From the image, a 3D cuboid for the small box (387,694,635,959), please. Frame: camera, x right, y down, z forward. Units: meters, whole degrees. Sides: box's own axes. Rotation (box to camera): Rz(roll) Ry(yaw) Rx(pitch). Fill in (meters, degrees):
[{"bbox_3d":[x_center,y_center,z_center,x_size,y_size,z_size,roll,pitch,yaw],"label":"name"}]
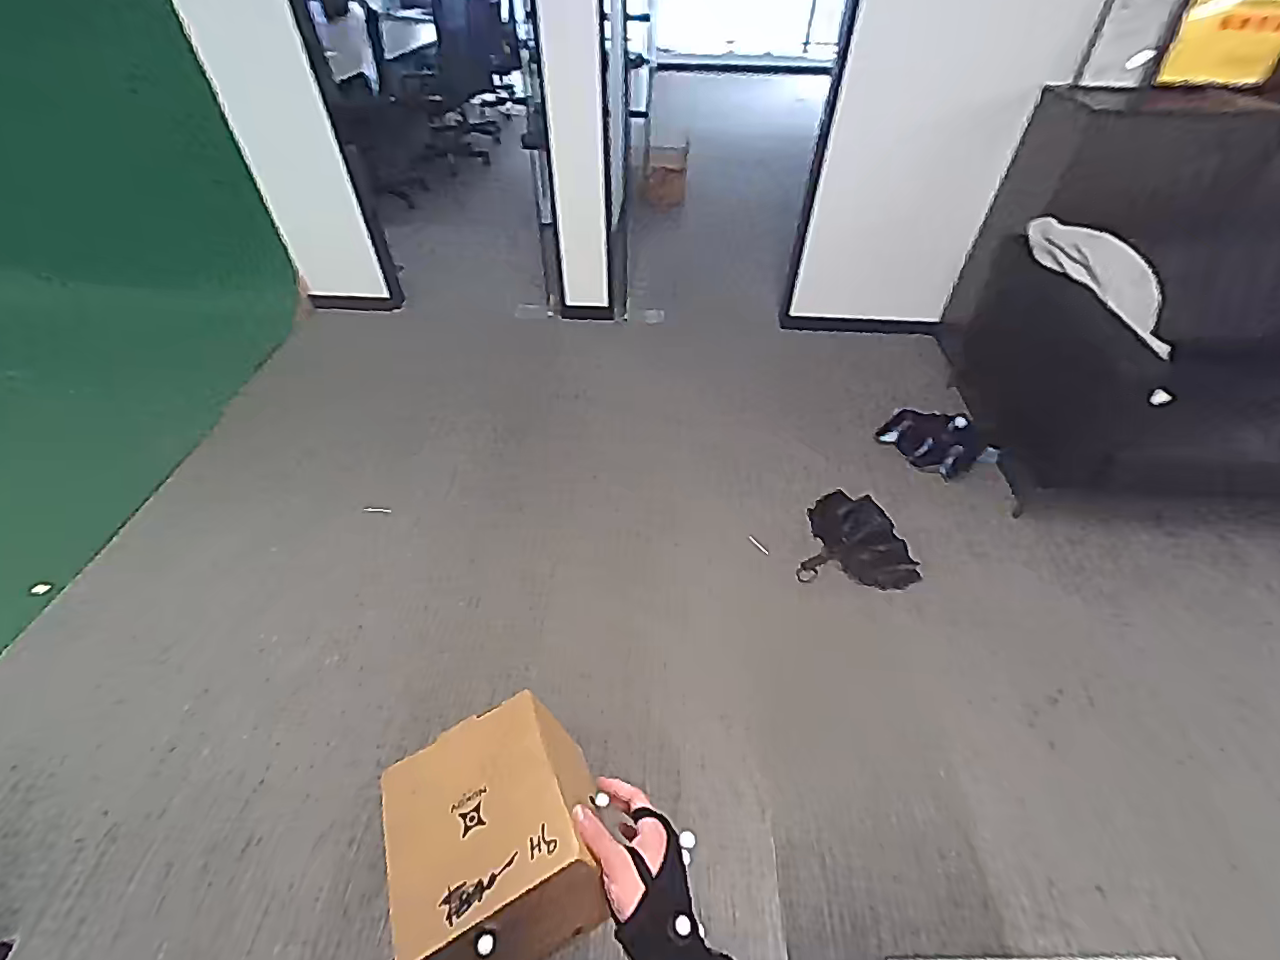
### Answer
[{"bbox_3d":[-0.127,0.363,0.543,0.168,0.176,0.179,-29,40,-10],"label":"small box"}]
